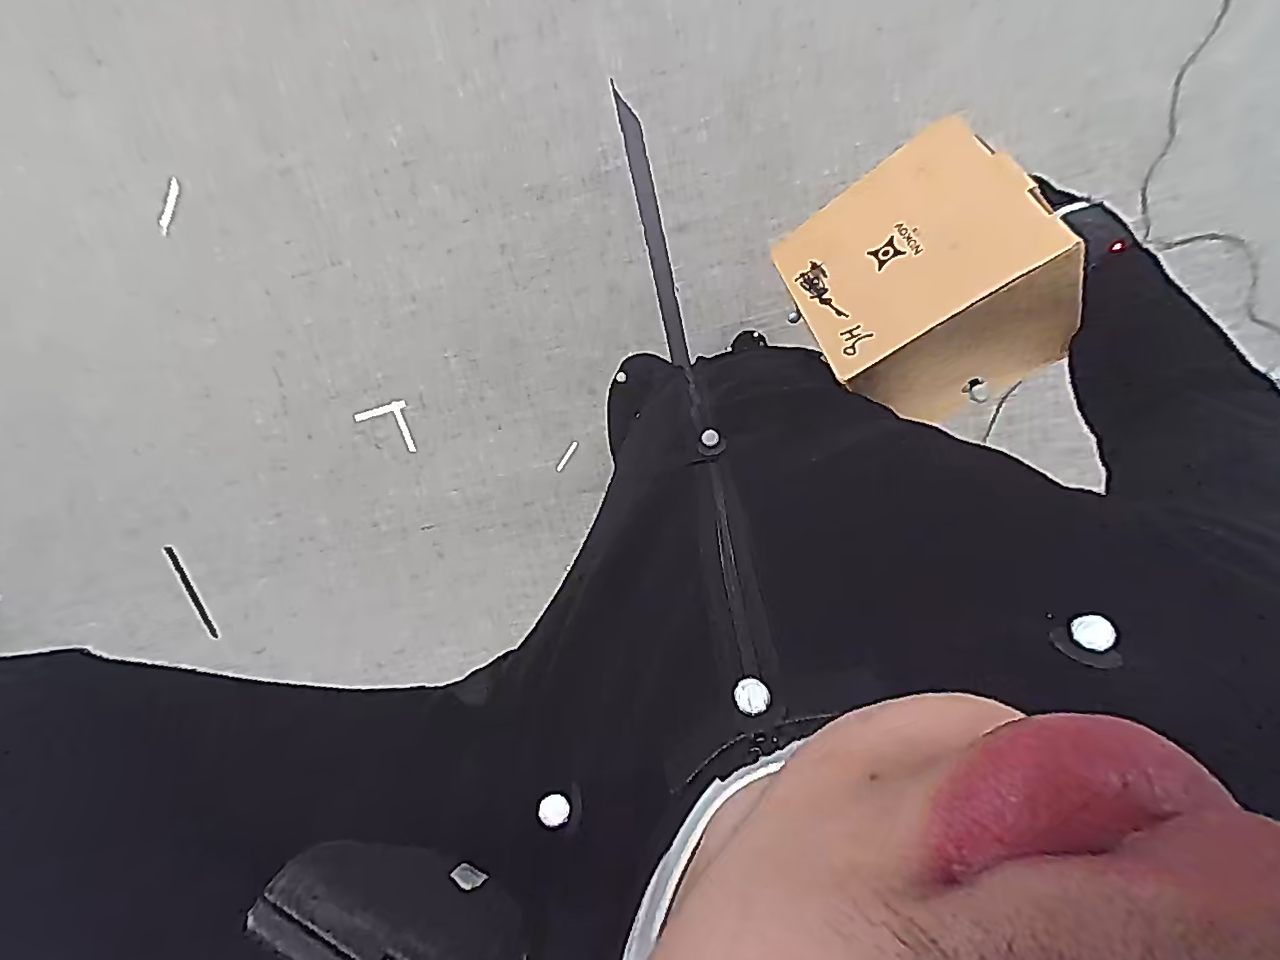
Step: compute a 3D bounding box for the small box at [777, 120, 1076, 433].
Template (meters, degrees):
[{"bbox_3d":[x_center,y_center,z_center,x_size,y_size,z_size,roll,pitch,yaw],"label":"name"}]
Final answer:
[{"bbox_3d":[0.263,-0.172,0.509,0.179,0.176,0.168,-31,58,26],"label":"small box"}]
